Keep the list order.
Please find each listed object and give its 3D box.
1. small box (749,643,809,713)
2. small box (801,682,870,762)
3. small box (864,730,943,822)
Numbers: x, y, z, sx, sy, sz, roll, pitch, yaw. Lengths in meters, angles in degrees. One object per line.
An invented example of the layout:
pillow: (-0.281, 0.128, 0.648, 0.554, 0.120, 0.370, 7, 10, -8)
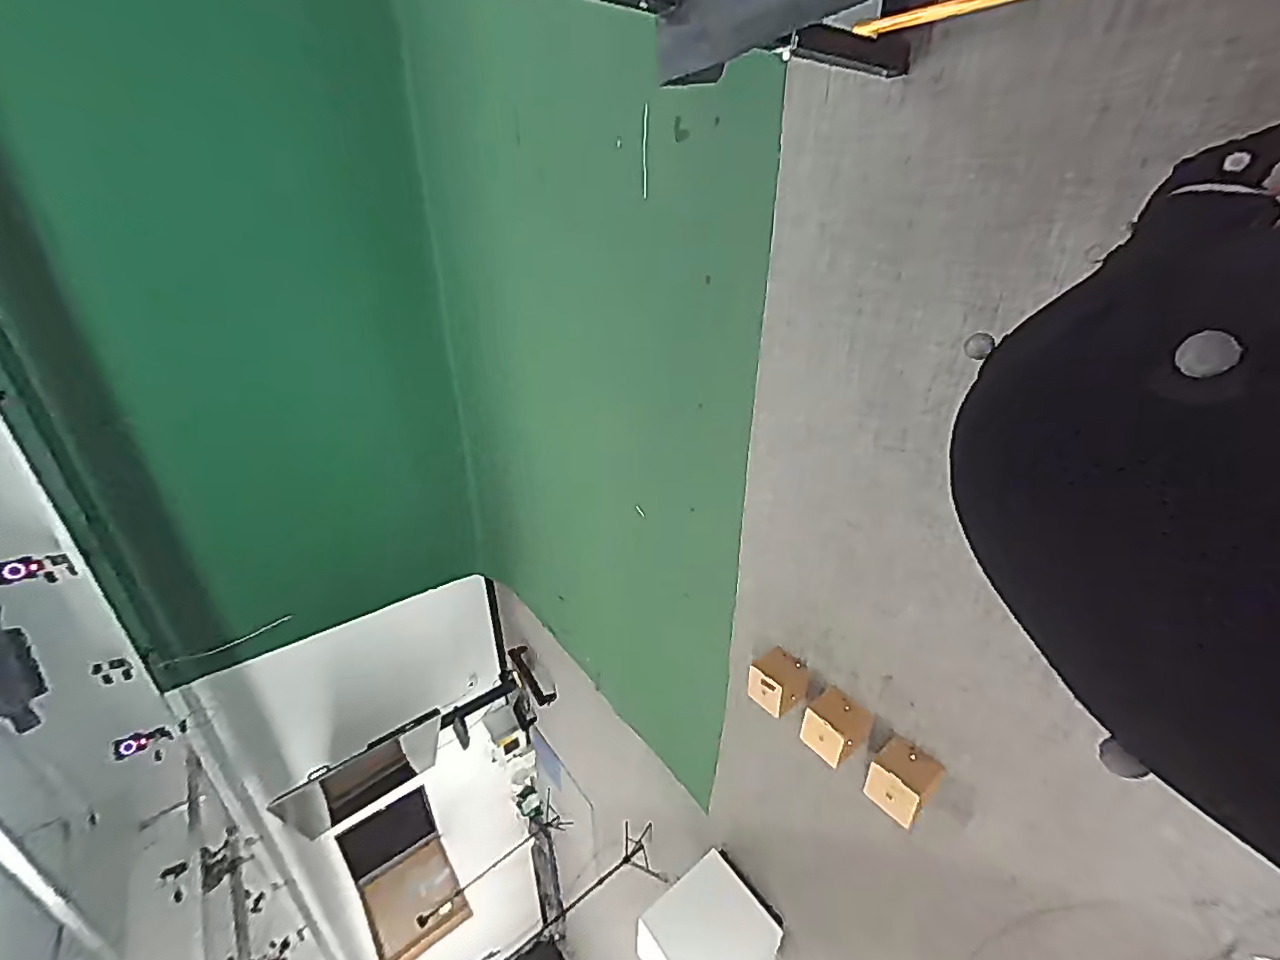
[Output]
small box: (0.573, 0.805, 2.220, 0.168, 0.176, 0.179, 29, 129, 46)
small box: (0.736, 0.903, 2.030, 0.168, 0.176, 0.179, 33, 131, 44)
small box: (0.896, 1.000, 1.838, 0.168, 0.176, 0.179, 30, 129, 45)
